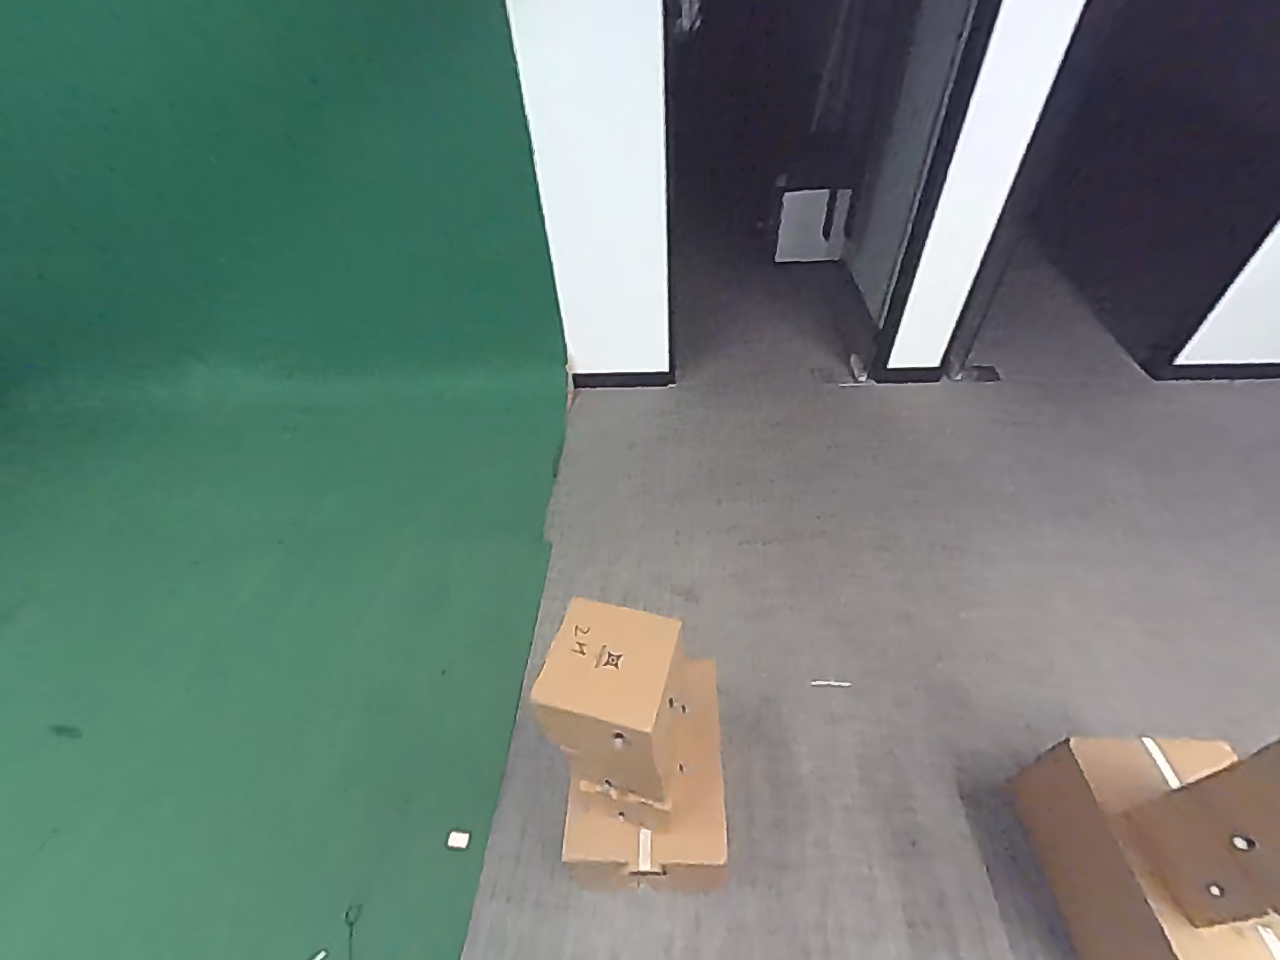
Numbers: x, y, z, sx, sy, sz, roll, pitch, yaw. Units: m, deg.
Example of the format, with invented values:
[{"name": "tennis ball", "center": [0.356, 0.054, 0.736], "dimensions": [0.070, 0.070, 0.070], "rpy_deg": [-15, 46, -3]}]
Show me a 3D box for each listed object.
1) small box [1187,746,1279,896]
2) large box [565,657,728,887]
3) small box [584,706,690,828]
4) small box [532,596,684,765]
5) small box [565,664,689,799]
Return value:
[{"name": "small box", "center": [0.976, 0.489, 0.776], "dimensions": [0.168, 0.176, 0.179], "rpy_deg": [-8, 46, -1]}, {"name": "large box", "center": [0.026, 0.670, 1.250], "dimensions": [0.320, 0.320, 0.408], "rpy_deg": [-1, 45, 4]}, {"name": "small box", "center": [0.002, 0.537, 1.043], "dimensions": [0.168, 0.176, 0.179], "rpy_deg": [6, 47, 12]}, {"name": "small box", "center": [-0.035, 0.305, 0.815], "dimensions": [0.179, 0.176, 0.168], "rpy_deg": [9, 47, 15]}, {"name": "small box", "center": [-0.014, 0.416, 0.934], "dimensions": [0.168, 0.176, 0.179], "rpy_deg": [8, 48, 15]}]
